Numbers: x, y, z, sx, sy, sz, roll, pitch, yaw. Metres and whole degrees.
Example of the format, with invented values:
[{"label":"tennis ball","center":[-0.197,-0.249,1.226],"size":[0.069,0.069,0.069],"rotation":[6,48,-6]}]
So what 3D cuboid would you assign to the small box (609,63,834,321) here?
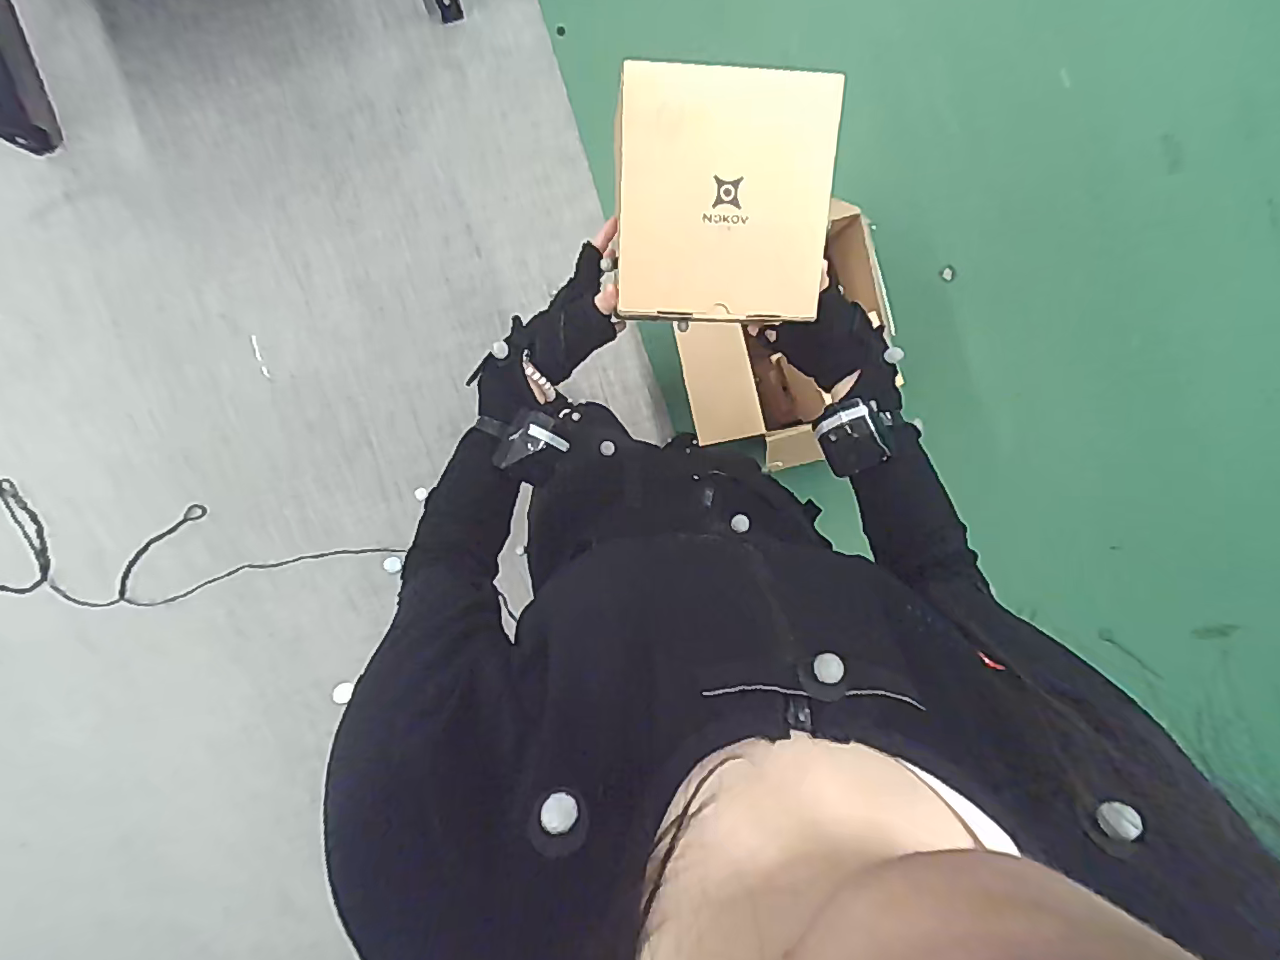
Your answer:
[{"label":"small box","center":[0.057,-0.243,0.502],"size":[0.168,0.176,0.179],"rotation":[1,107,-5]}]
